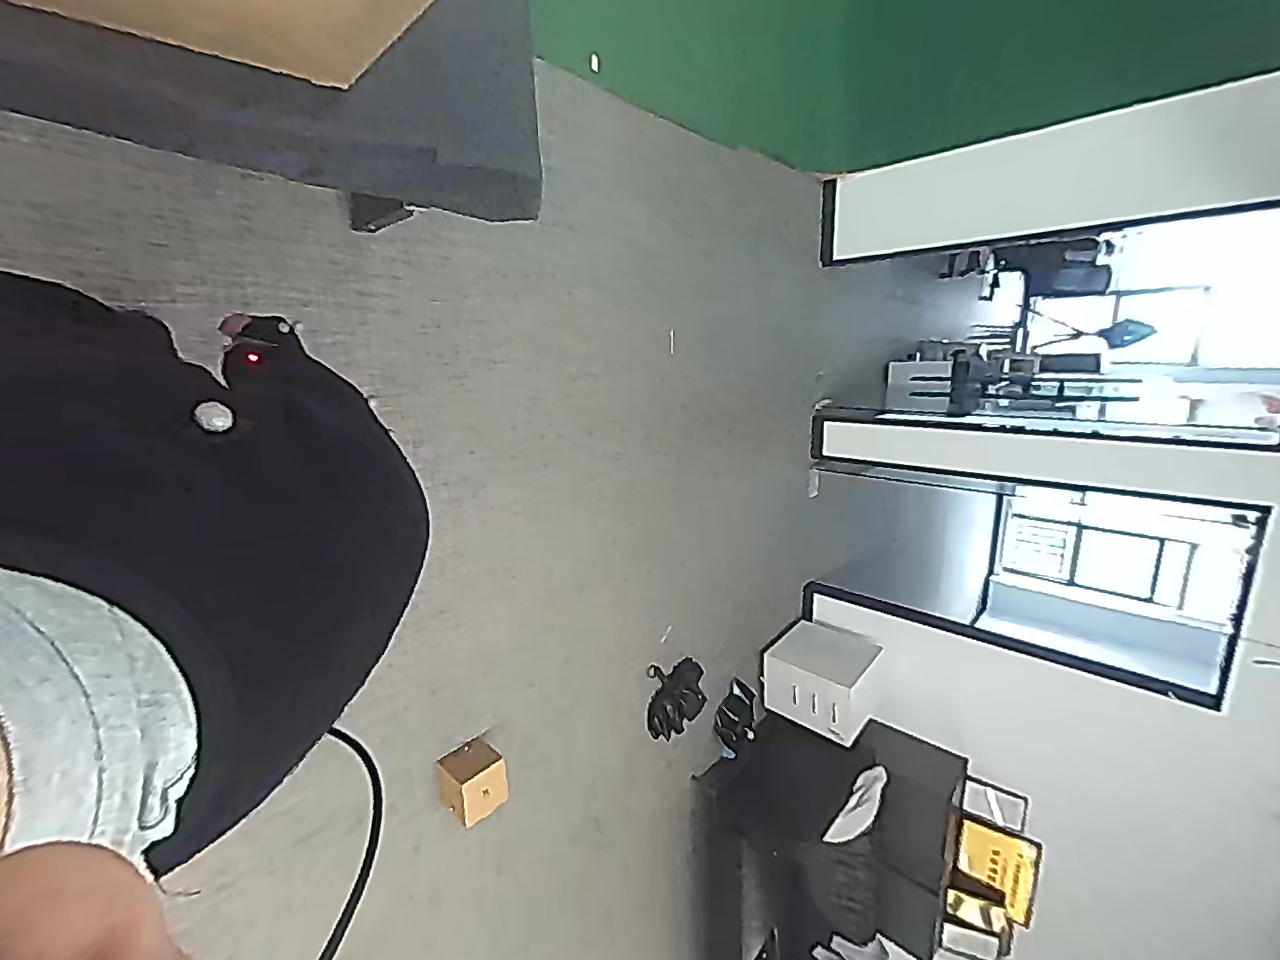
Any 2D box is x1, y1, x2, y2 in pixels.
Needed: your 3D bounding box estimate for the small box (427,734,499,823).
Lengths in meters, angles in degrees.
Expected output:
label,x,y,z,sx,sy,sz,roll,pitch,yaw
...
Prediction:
label,x,y,z,sx,sy,sz,roll,pitch,yaw
small box,-0.611,1.021,1.867,0.168,0.176,0.179,-18,111,-47
